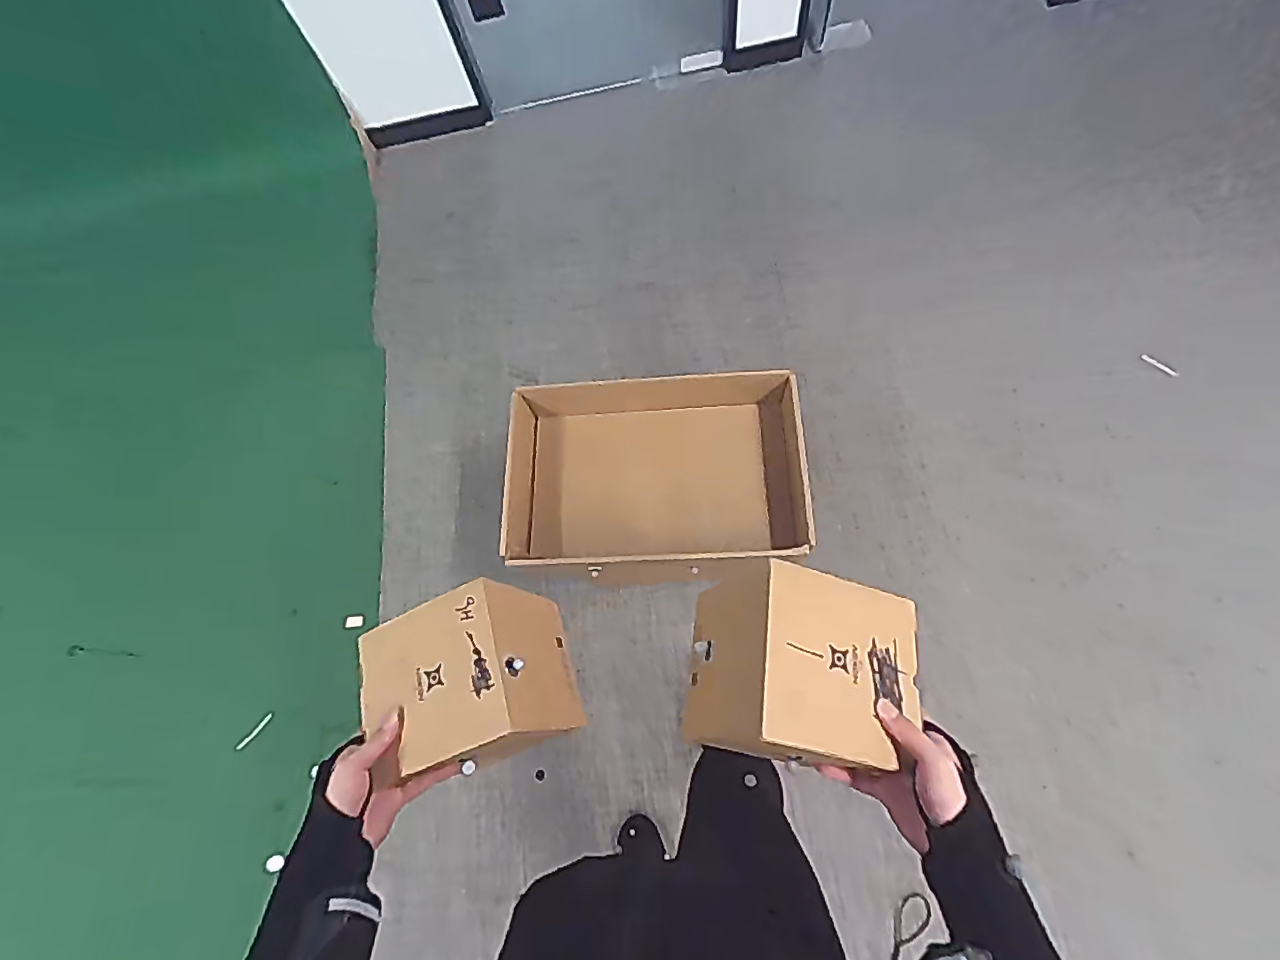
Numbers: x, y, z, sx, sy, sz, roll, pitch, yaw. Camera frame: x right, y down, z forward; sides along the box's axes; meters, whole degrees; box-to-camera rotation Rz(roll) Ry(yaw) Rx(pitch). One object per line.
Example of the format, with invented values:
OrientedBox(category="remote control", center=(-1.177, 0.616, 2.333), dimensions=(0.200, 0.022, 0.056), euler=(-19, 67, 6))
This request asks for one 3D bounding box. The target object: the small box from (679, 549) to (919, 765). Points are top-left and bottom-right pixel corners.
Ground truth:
OrientedBox(category="small box", center=(0.161, 0.195, 0.578), dimensions=(0.179, 0.176, 0.168), euler=(18, 60, -12))

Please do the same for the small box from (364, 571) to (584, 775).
OrientedBox(category="small box", center=(-0.193, 0.232, 0.644), dimensions=(0.179, 0.176, 0.168), euler=(-26, 61, 11))
